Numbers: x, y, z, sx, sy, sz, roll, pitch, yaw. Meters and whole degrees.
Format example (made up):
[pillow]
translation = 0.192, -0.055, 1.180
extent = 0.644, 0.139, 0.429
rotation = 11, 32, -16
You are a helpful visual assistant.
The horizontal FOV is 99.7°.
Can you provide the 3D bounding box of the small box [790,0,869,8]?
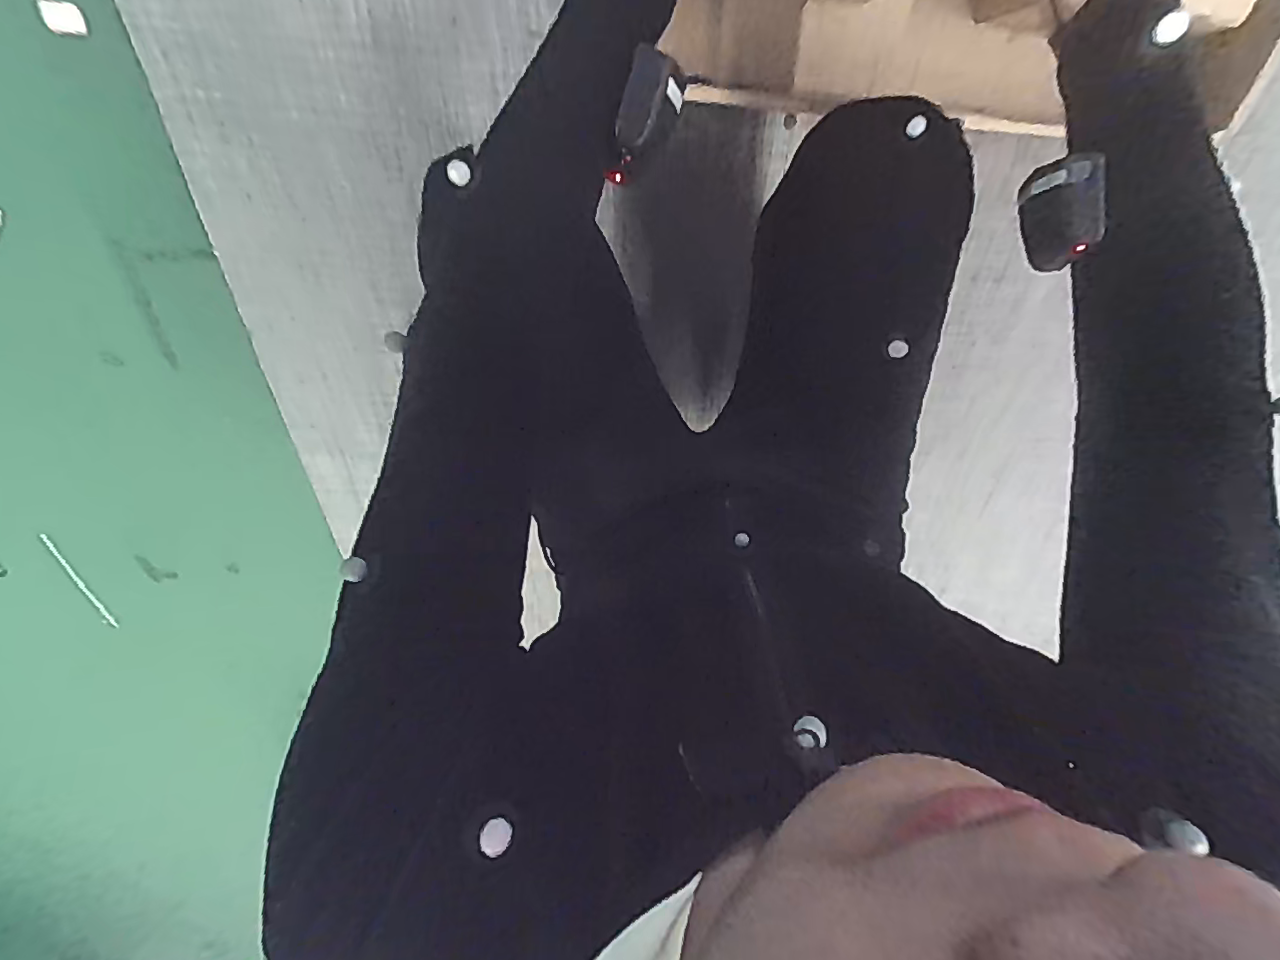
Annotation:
[small box]
translation = 0.171, -0.557, 0.481
extent = 0.168, 0.176, 0.179
rotation = 5, 124, -2
